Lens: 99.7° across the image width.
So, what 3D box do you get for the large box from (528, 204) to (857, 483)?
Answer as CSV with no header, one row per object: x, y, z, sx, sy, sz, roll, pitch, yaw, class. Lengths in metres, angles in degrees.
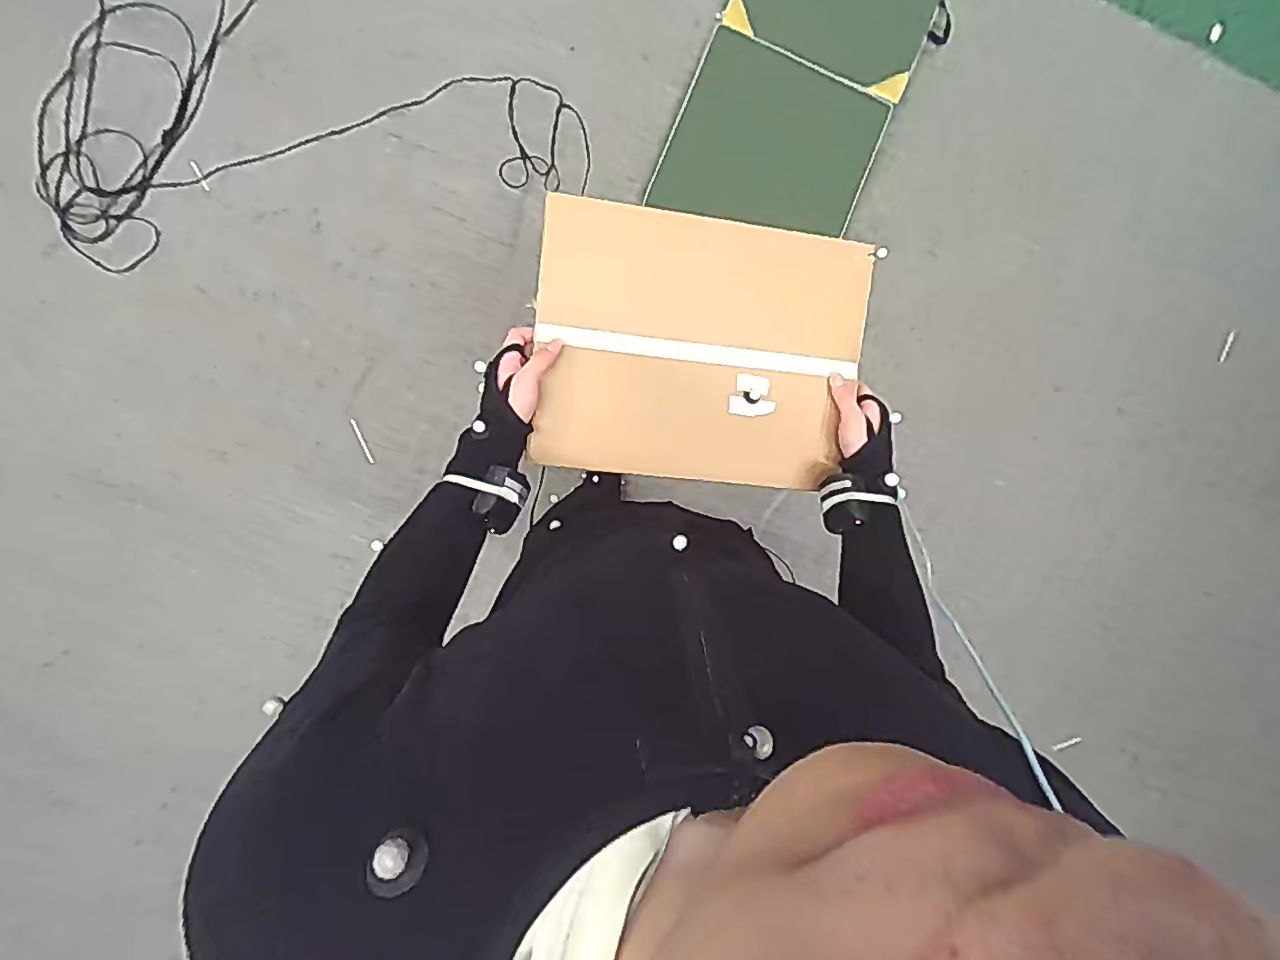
0.047,-0.176,0.817,0.408,0.320,0.320,4,97,-8,large box
